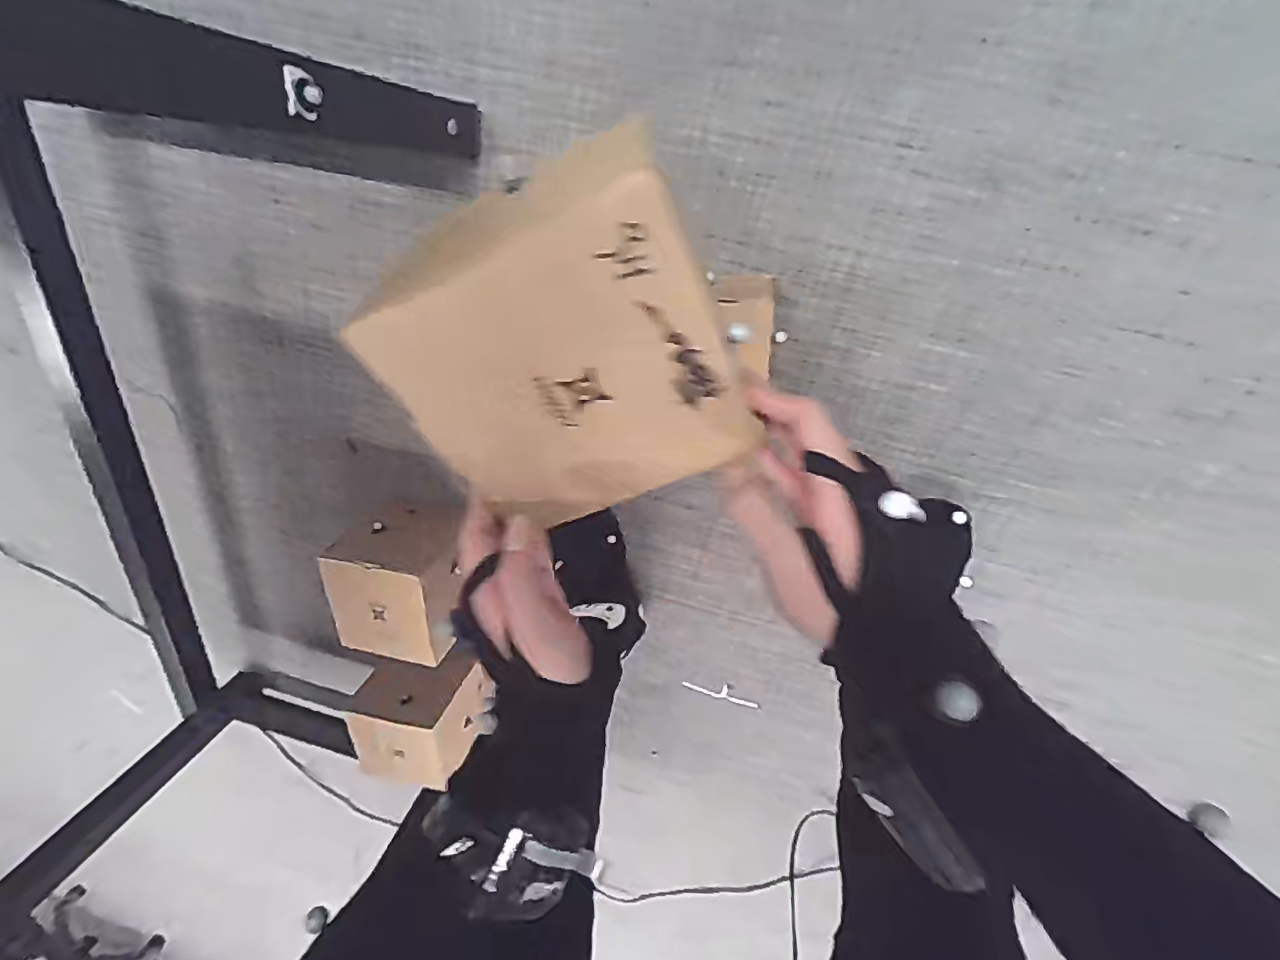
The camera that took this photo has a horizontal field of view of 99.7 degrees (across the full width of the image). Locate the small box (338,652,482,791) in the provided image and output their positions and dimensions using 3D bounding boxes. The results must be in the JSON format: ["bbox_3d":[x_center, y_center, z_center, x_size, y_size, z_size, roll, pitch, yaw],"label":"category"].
[{"bbox_3d":[-0.405,0.425,0.989,0.179,0.176,0.168,7,117,11],"label":"small box"}]

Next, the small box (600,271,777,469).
[{"bbox_3d":[0.061,-0.130,0.599,0.168,0.176,0.179,4,117,12],"label":"small box"}]

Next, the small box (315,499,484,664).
[{"bbox_3d":[-0.358,0.148,0.840,0.168,0.176,0.179,9,118,10],"label":"small box"}]
